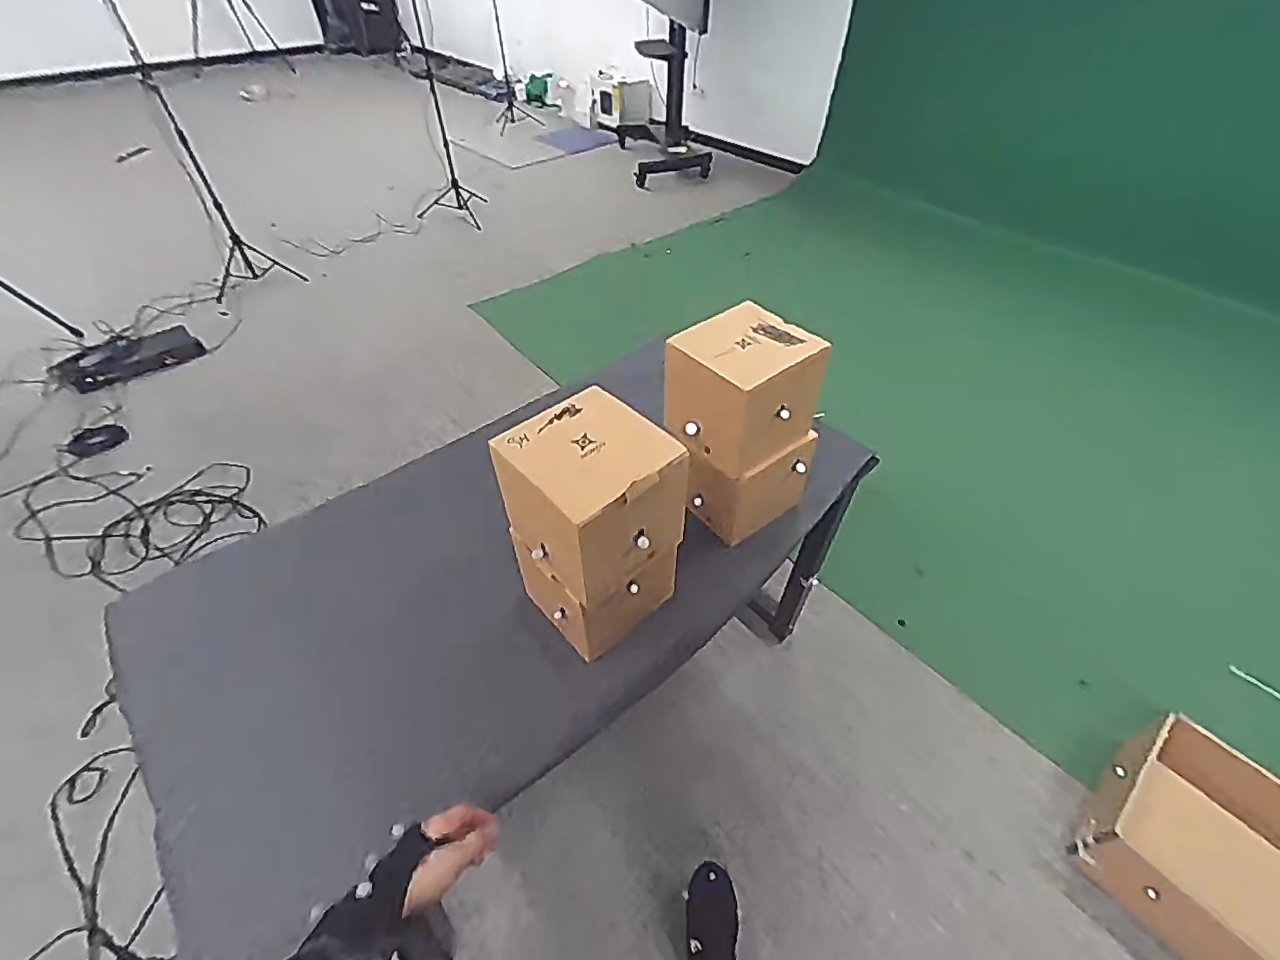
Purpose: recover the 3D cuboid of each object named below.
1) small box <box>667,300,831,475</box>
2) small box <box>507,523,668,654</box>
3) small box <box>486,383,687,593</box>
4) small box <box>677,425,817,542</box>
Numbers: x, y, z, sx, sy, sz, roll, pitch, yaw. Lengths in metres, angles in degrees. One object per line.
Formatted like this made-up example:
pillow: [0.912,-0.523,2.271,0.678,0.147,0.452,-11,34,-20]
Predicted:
small box: [0.153,-0.141,0.823,0.179,0.176,0.168,-31,53,-24]
small box: [-0.069,0.122,0.801,0.179,0.176,0.168,-33,56,-29]
small box: [-0.062,0.016,0.675,0.168,0.176,0.179,-33,56,-27]
small box: [0.171,-0.028,0.941,0.179,0.176,0.168,-29,52,-24]
